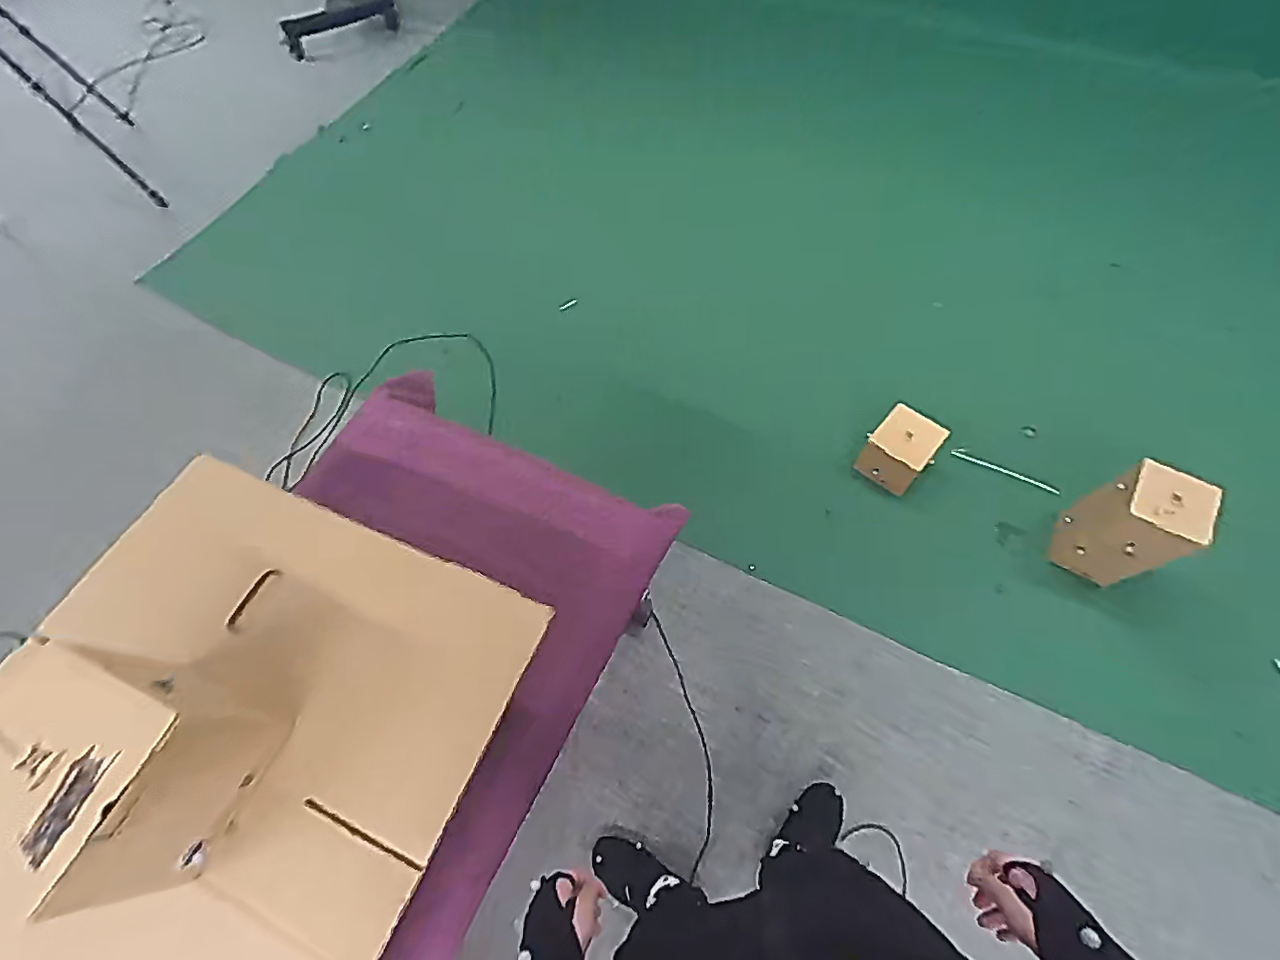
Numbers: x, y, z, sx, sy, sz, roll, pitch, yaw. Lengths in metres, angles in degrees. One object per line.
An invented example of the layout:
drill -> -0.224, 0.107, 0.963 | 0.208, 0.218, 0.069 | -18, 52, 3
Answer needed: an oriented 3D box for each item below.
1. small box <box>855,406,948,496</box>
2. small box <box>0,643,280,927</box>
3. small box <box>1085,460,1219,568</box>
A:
small box -> 0.787, -0.086, 1.646 | 0.168, 0.176, 0.179 | 38, 73, 20
small box -> -0.515, 0.285, 0.535 | 0.179, 0.176, 0.168 | 19, 65, 14
small box -> 1.257, 0.088, 1.339 | 0.168, 0.176, 0.179 | 30, 69, 17
